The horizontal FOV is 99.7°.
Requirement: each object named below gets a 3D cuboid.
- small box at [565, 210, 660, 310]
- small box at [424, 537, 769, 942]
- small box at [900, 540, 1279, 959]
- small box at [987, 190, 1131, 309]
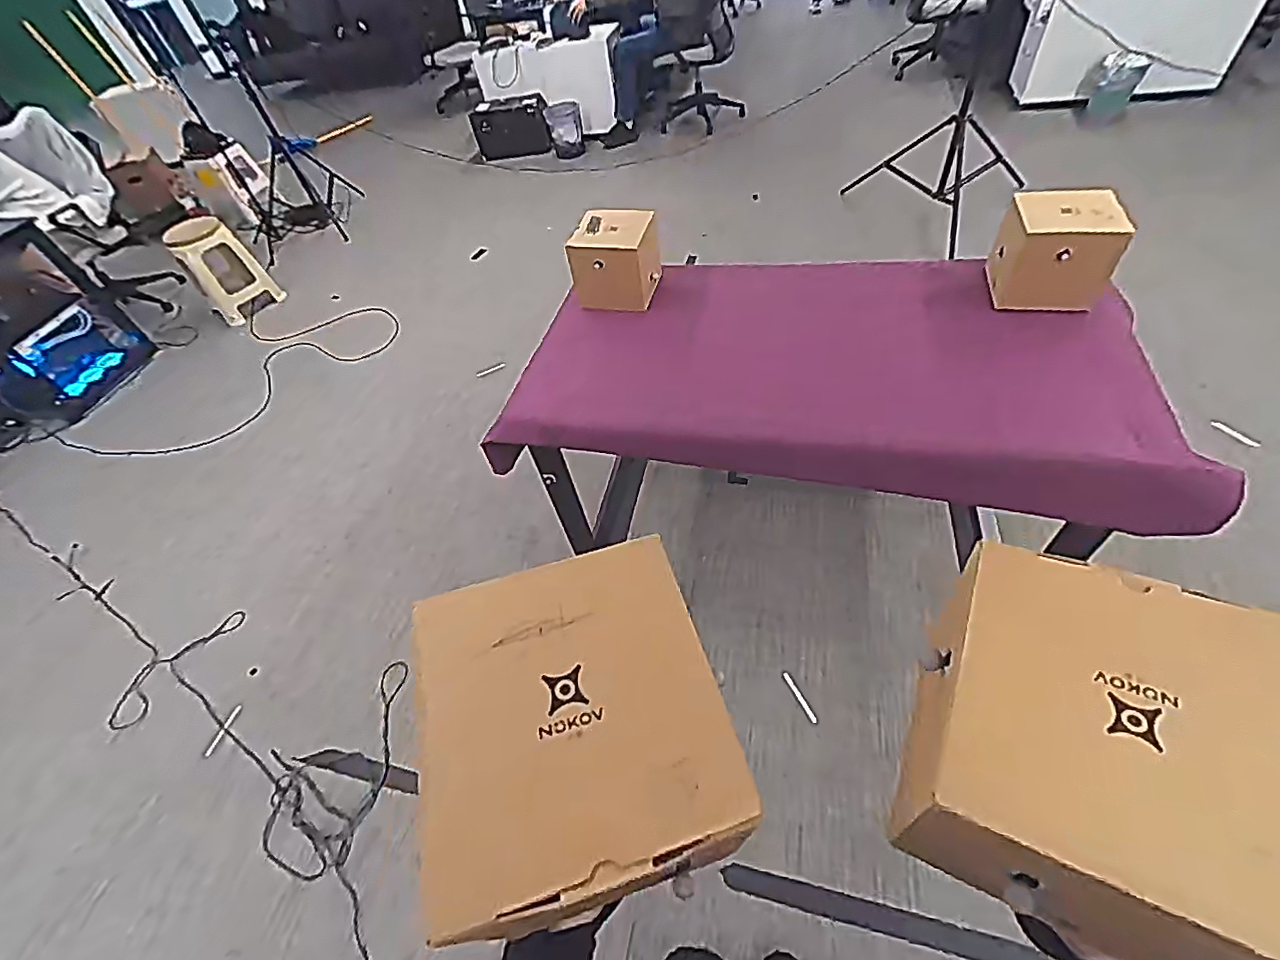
[{"bbox_3d":[-0.059,-0.536,1.323,0.179,0.176,0.168,9,55,15],"label":"small box"},{"bbox_3d":[-0.032,0.172,0.366,0.168,0.176,0.179,-15,51,-9],"label":"small box"},{"bbox_3d":[0.277,0.173,0.345,0.168,0.176,0.179,16,55,26],"label":"small box"},{"bbox_3d":[0.835,-0.467,1.104,0.179,0.176,0.168,7,54,14],"label":"small box"}]
